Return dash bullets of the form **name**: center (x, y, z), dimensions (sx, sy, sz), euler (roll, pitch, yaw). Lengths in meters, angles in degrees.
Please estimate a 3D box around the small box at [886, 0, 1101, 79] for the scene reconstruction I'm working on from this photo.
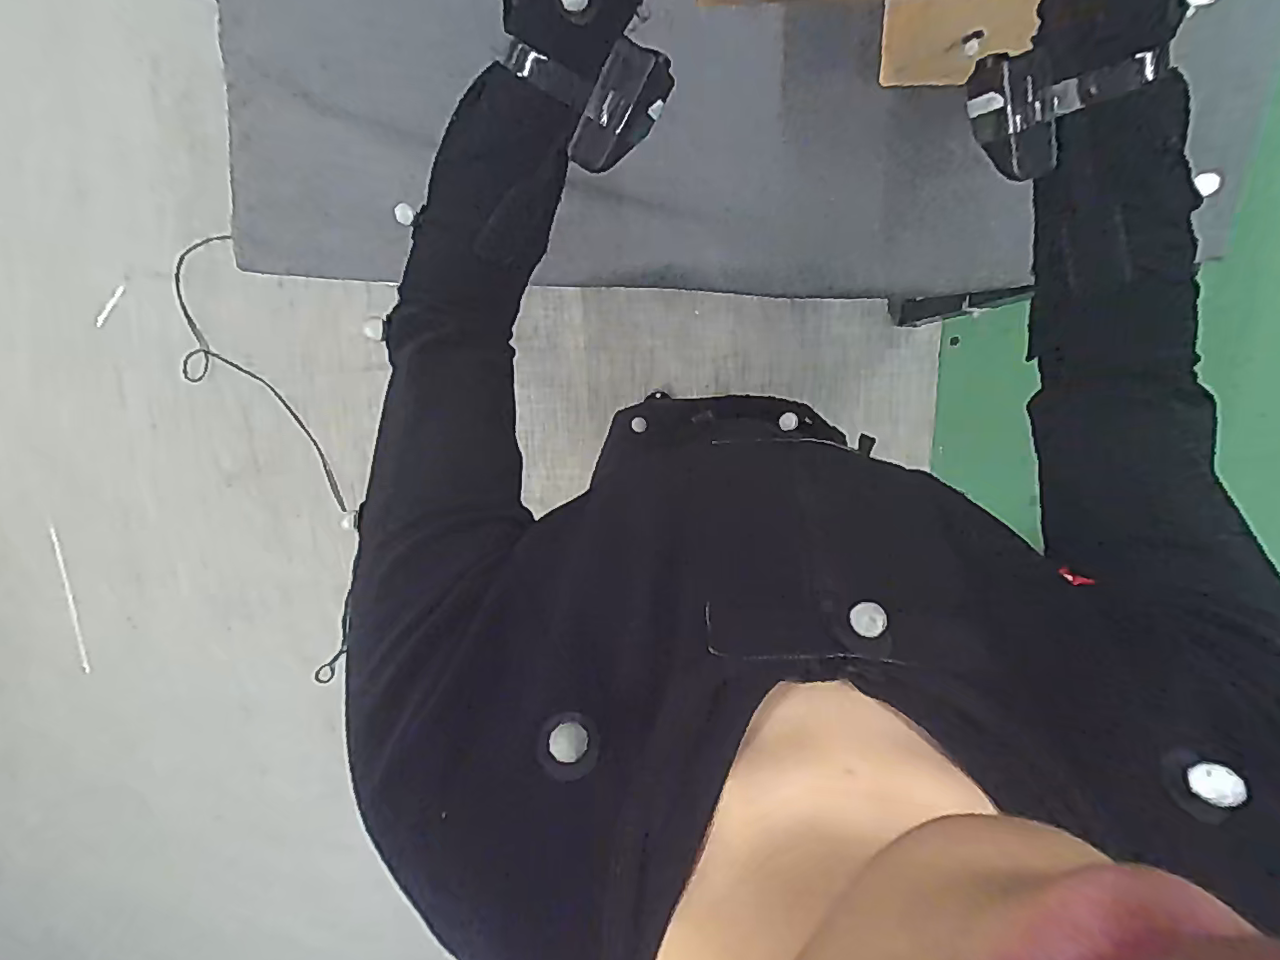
- **small box**: center (0.363, -0.537, 0.542), dimensions (0.168, 0.176, 0.179), euler (1, 100, 3)
